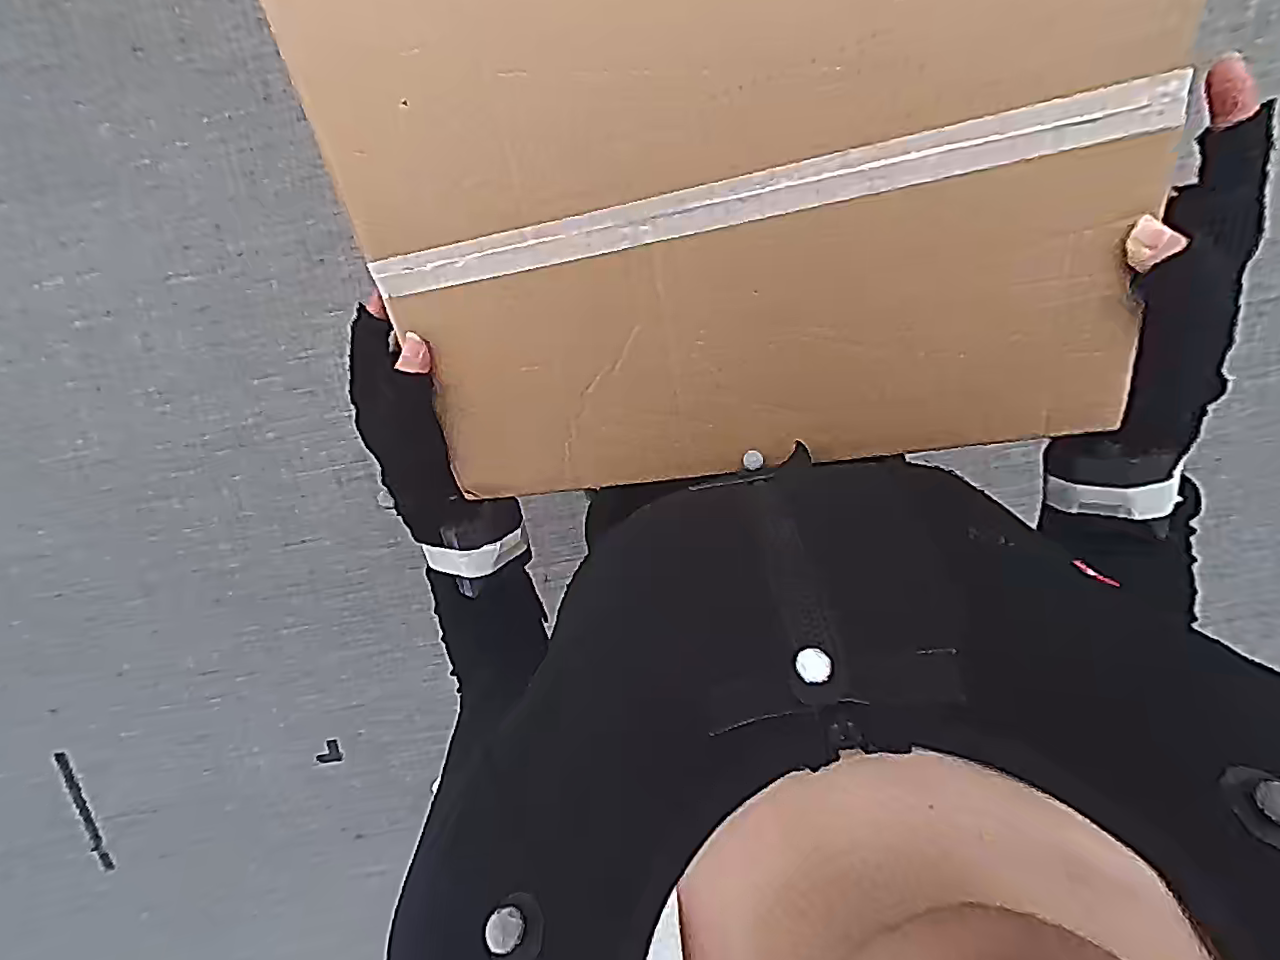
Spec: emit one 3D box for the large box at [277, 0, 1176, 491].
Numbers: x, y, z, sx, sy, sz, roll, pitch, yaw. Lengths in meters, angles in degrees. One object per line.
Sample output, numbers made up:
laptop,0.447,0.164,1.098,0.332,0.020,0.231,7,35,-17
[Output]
large box,0.061,-0.219,0.414,0.408,0.320,0.320,-6,117,13
